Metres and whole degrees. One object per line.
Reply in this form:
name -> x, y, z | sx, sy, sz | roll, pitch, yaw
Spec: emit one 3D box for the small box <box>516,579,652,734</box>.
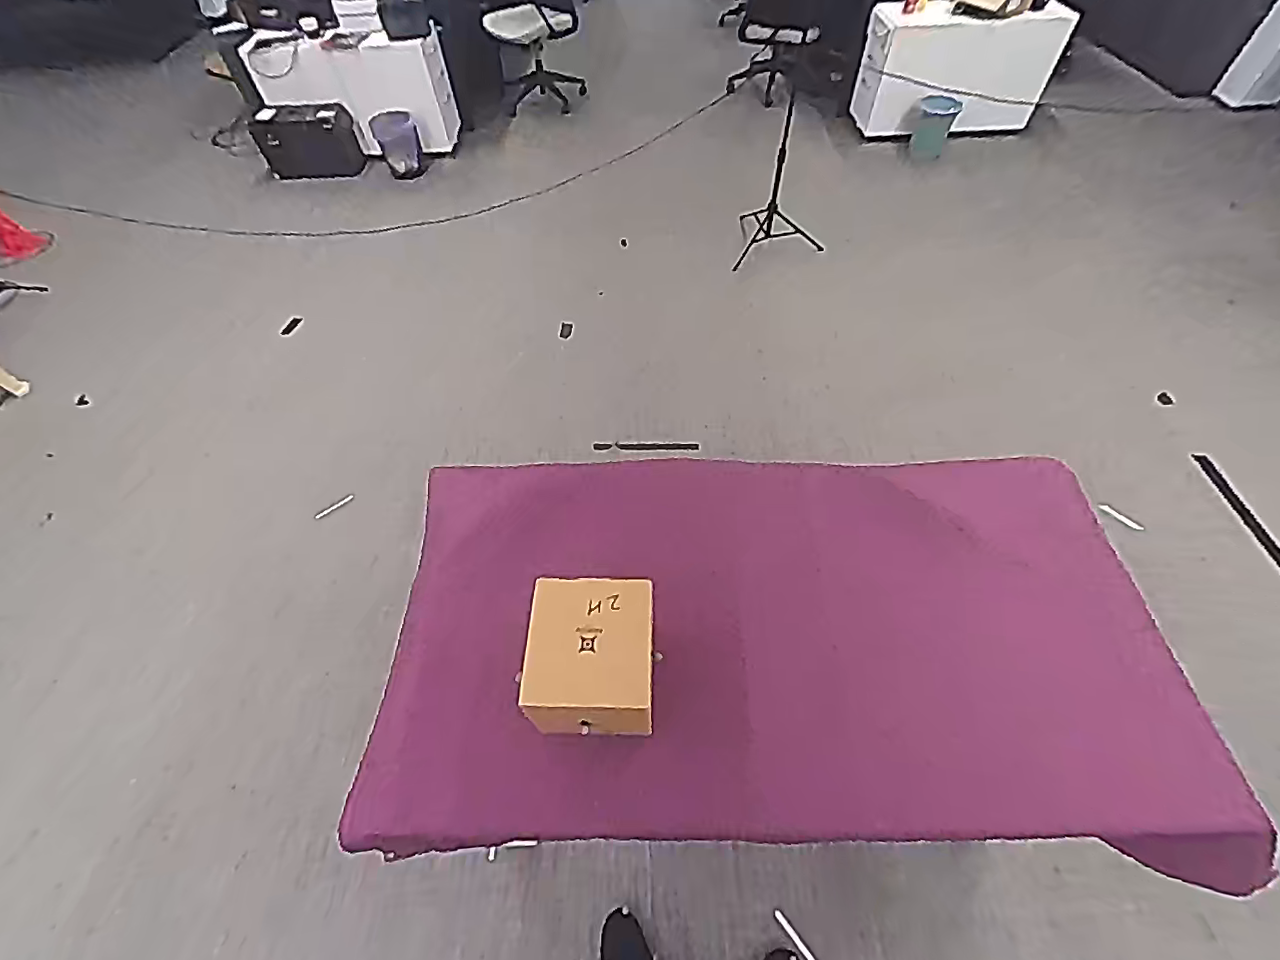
small box -> -0.067, 0.257, 0.776 | 0.168, 0.176, 0.179 | 1, 54, 2
